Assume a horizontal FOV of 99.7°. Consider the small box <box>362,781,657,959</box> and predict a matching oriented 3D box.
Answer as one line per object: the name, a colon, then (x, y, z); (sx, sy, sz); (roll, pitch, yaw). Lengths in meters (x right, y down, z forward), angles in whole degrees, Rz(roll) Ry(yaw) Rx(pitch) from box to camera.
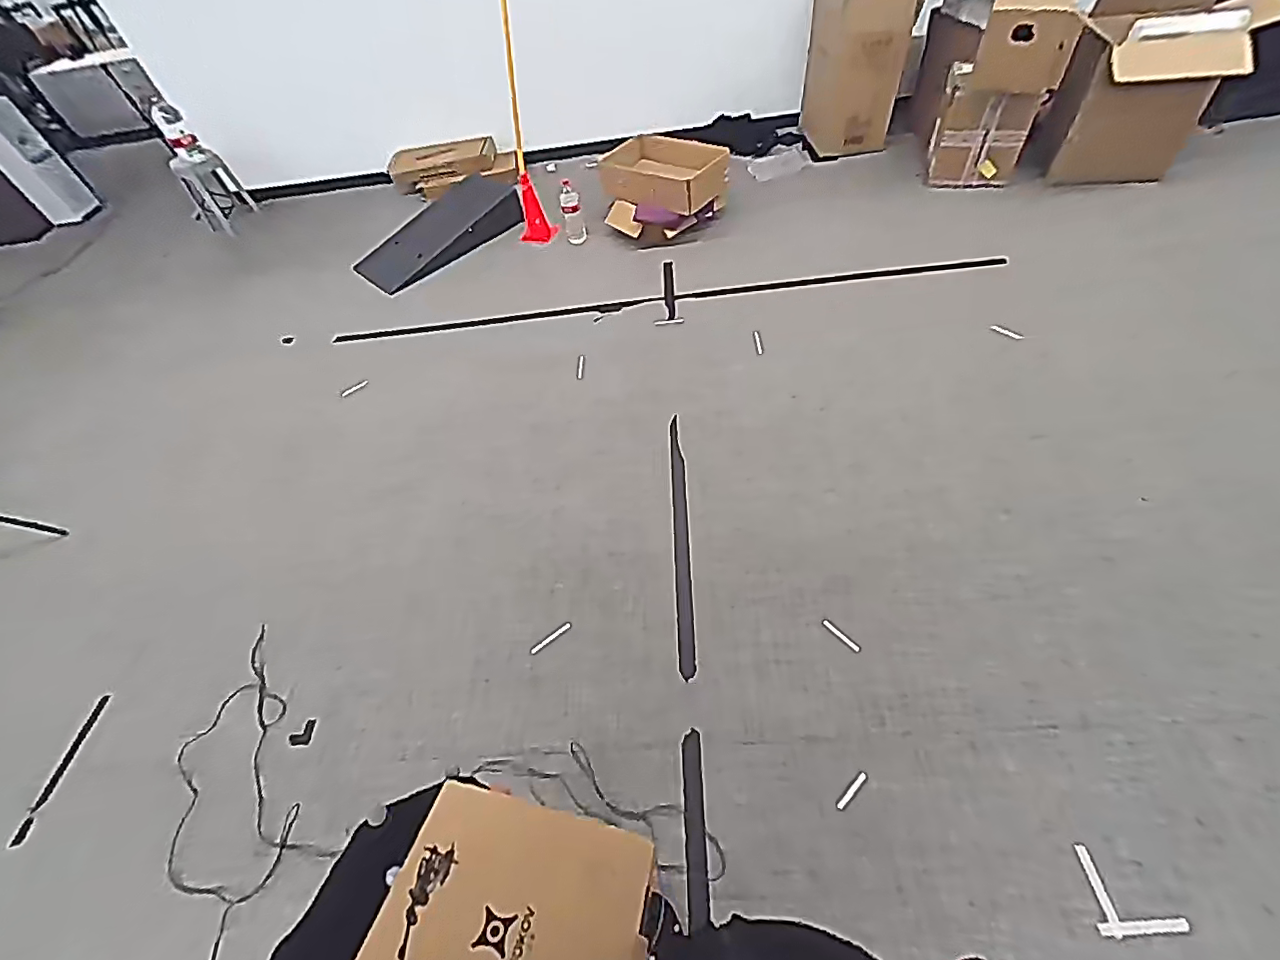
small box: (-0.098, 0.372, 0.412); (0.179, 0.176, 0.168); (13, 36, 6)
